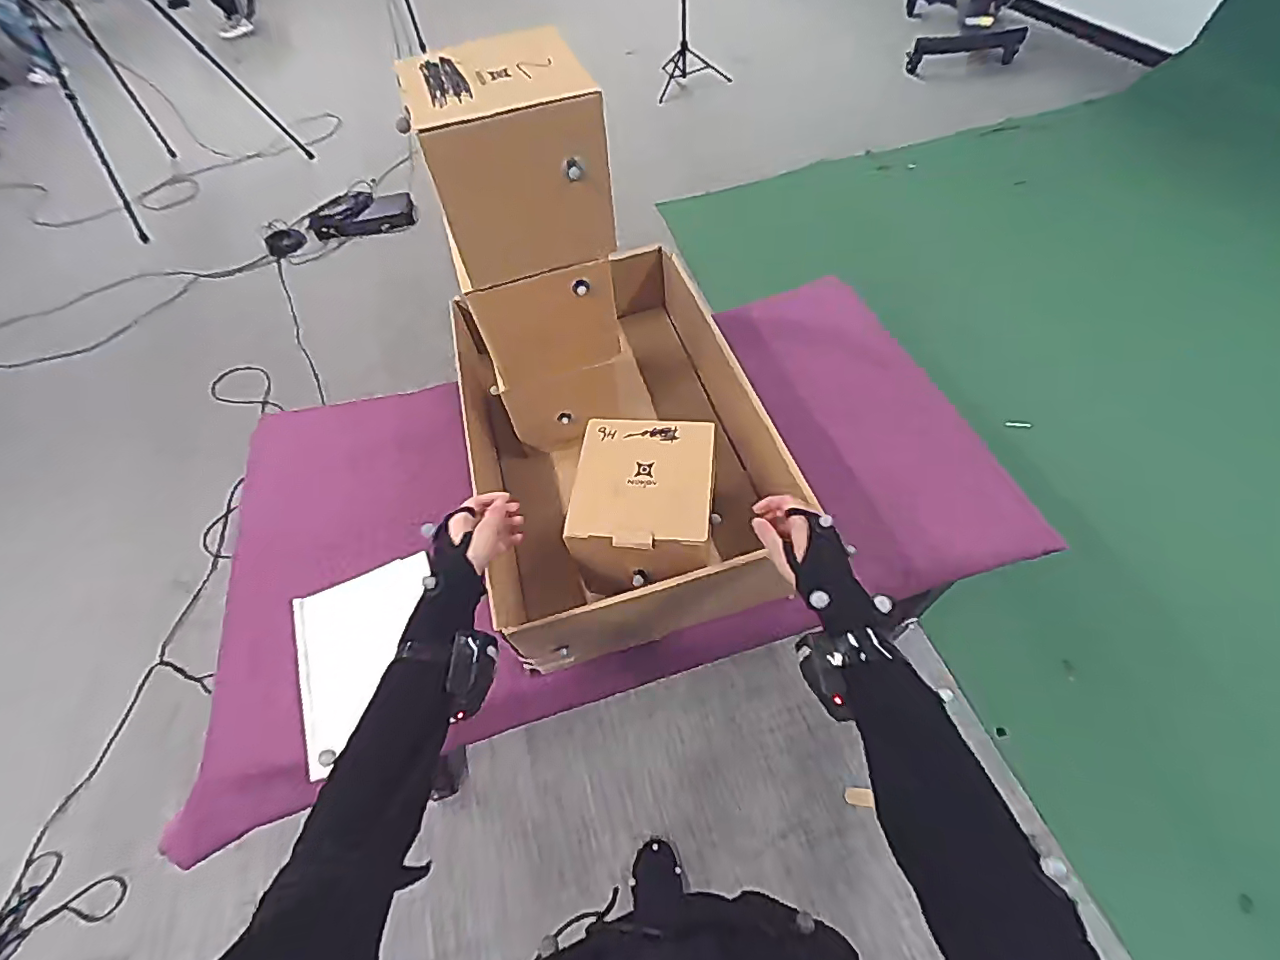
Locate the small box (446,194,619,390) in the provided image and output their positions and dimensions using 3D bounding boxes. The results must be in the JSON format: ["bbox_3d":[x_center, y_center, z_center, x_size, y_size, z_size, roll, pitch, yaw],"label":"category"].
[{"bbox_3d":[-0.139,-0.247,0.733,0.179,0.176,0.168,-18,58,-7],"label":"small box"}]

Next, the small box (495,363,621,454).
[{"bbox_3d":[-0.133,-0.160,0.869,0.168,0.176,0.179,-16,58,-6],"label":"small box"}]
